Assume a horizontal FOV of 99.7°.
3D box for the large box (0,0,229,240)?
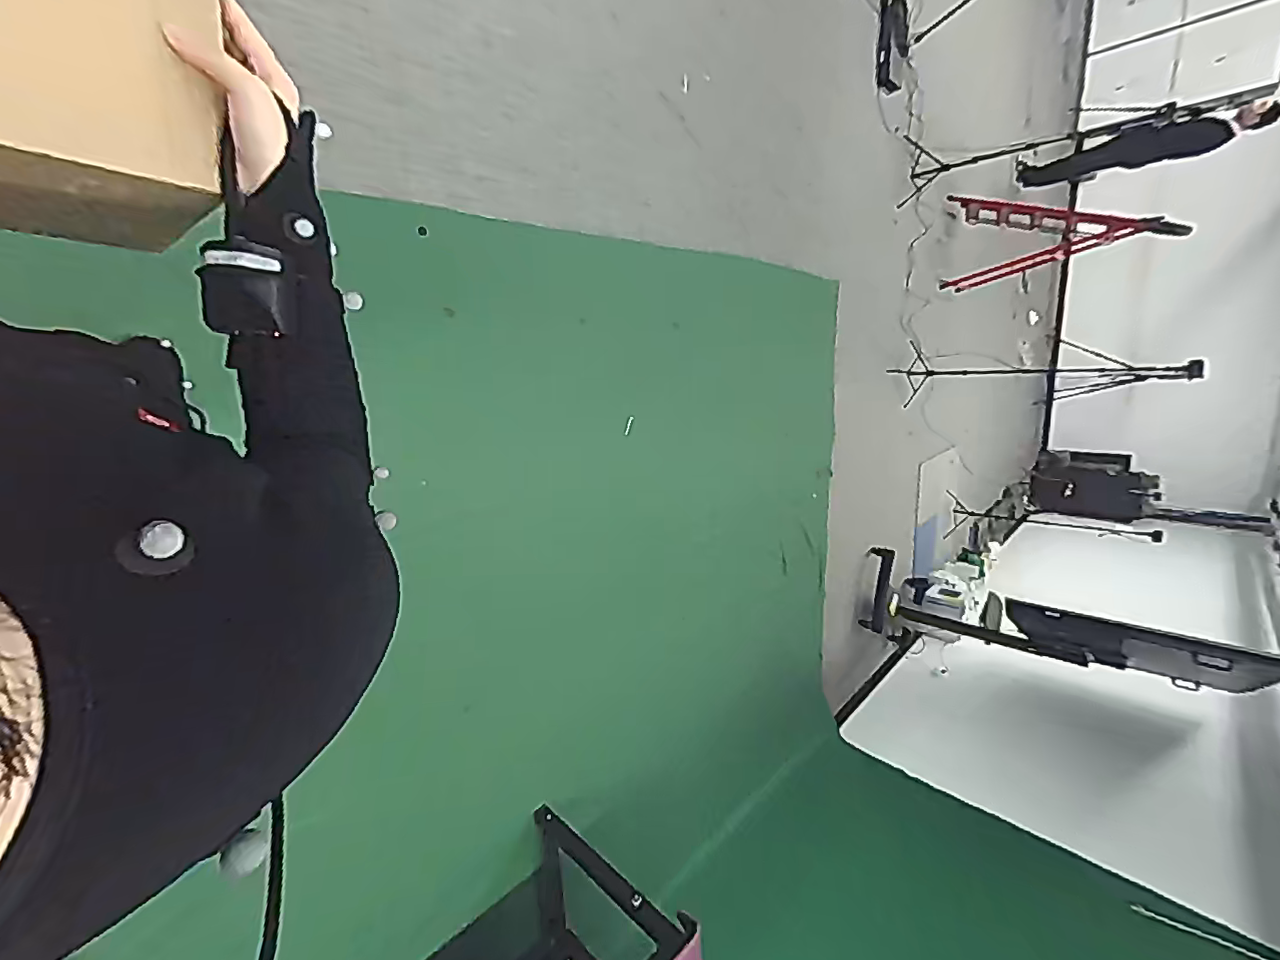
[{"bbox_3d":[-0.549,-0.365,0.326,0.408,0.320,0.320,-10,106,-49],"label":"large box"}]
